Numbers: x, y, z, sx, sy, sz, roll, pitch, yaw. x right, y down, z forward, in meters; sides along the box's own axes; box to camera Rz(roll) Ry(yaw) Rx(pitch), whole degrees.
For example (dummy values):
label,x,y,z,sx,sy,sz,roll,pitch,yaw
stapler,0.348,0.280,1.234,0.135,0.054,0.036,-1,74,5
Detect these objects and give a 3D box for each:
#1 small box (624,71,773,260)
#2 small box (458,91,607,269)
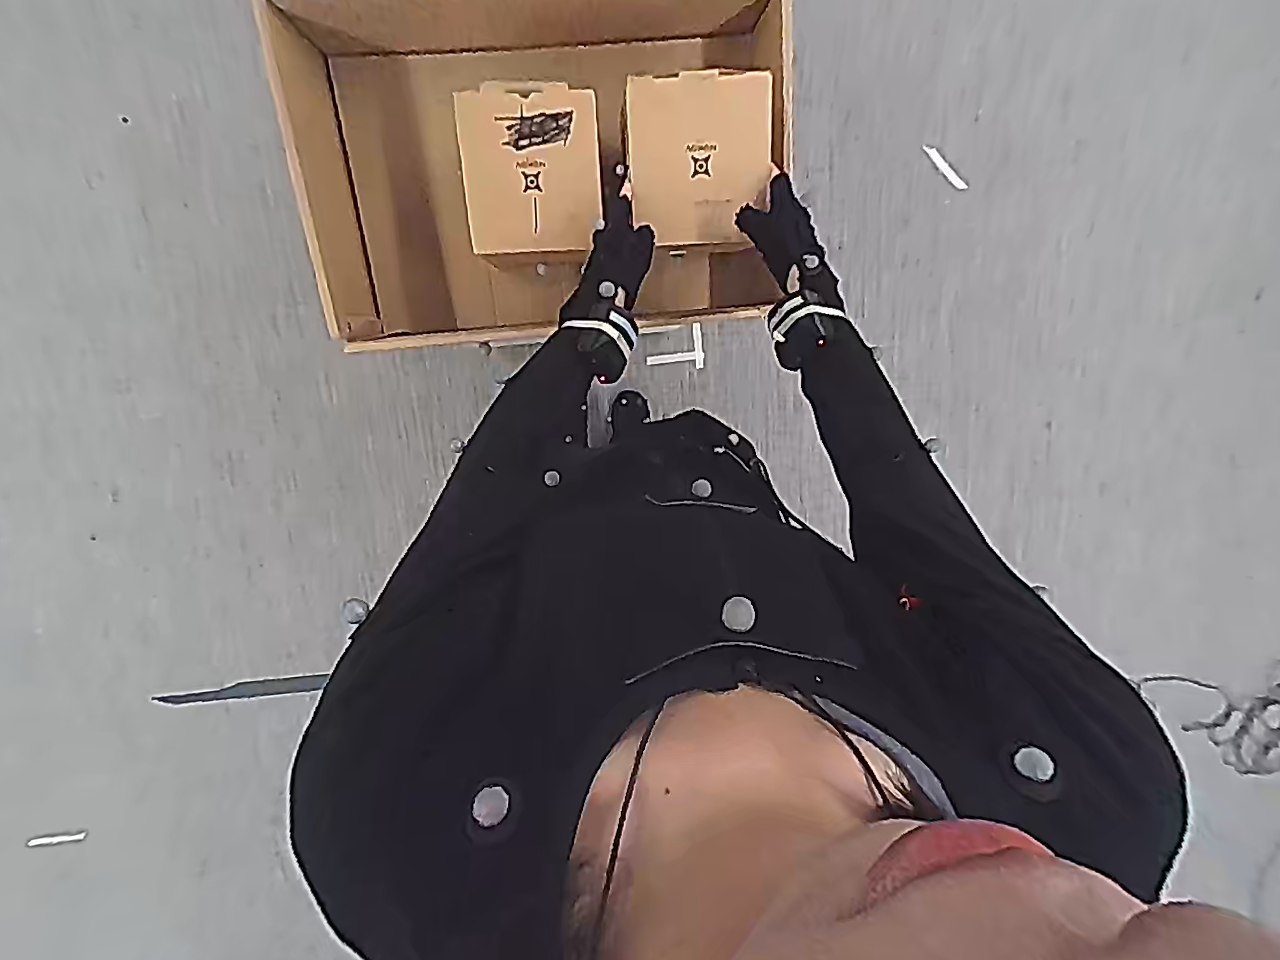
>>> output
label,x,y,z,sx,sy,sz,roll,pitch,yaw
small box,0.067,-0.390,0.699,0.168,0.176,0.179,-5,108,-1
small box,-0.134,-0.387,0.726,0.168,0.176,0.179,-4,107,-4
